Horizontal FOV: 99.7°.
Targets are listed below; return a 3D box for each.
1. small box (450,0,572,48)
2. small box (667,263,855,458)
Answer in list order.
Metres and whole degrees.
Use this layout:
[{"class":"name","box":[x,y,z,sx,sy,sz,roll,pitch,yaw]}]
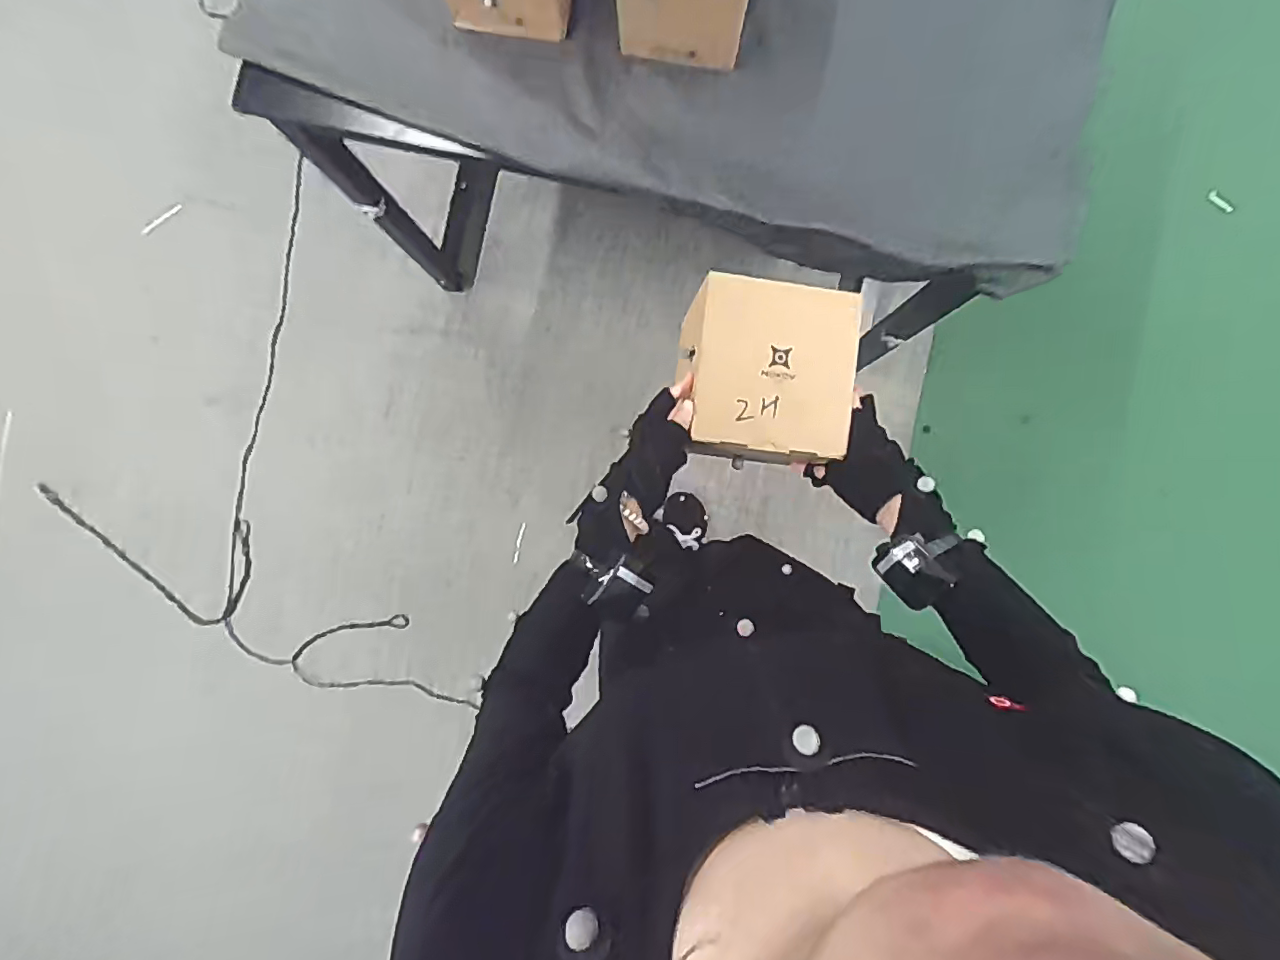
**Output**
[{"class":"small box","box":[-0.179,-0.740,0.723,0.168,0.176,0.179,10,88,2]},{"class":"small box","box":[0.129,-0.126,0.638,0.168,0.176,0.179,7,88,-4]}]
